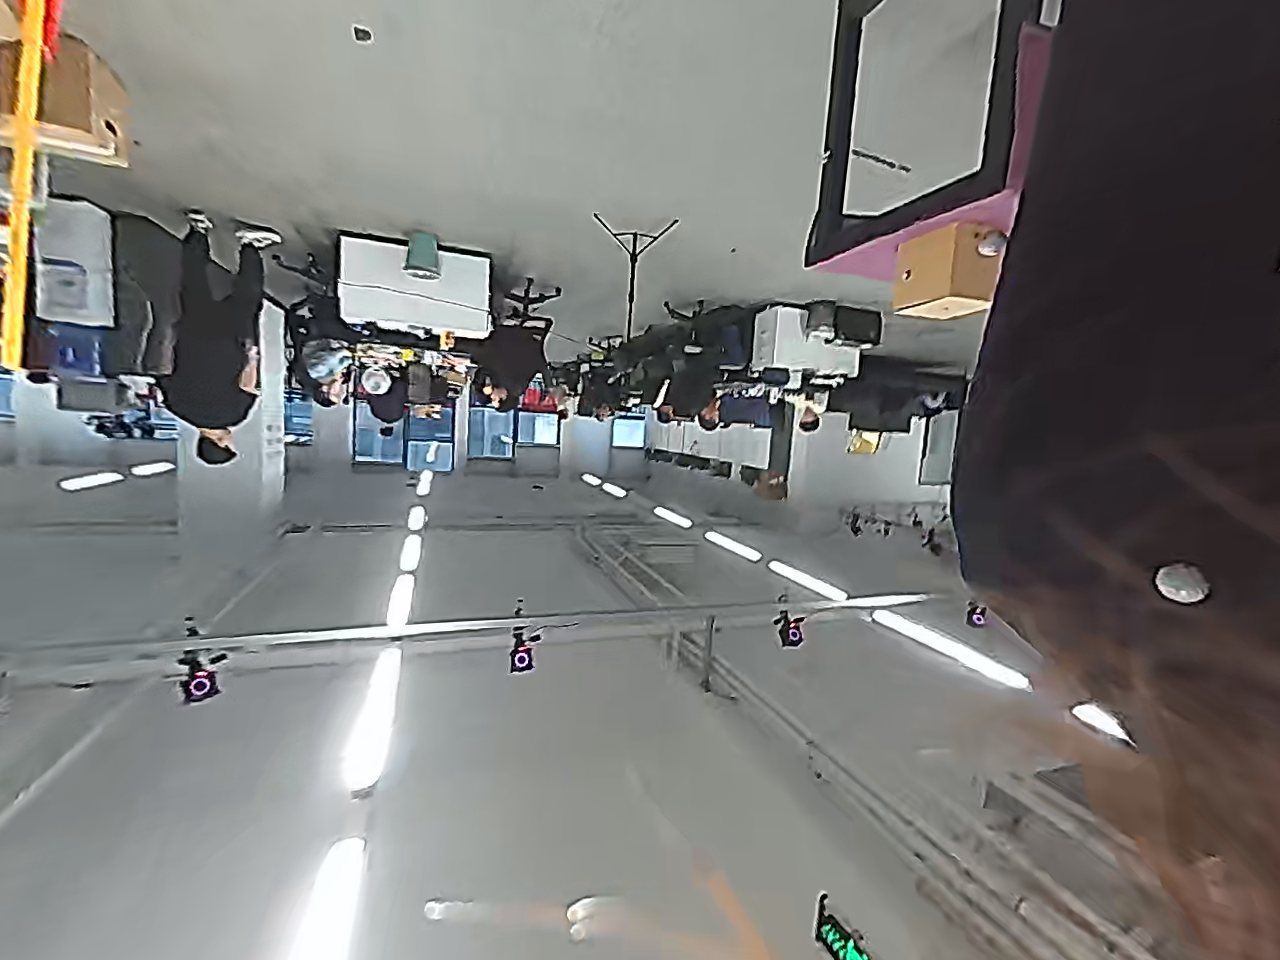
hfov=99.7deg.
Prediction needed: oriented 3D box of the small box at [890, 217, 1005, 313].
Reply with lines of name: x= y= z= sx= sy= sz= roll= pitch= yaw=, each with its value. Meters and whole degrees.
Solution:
small box: x=0.738 y=-0.510 z=1.300 sx=0.168 sy=0.176 sz=0.179 roll=0 pitch=-173 yaw=-17
